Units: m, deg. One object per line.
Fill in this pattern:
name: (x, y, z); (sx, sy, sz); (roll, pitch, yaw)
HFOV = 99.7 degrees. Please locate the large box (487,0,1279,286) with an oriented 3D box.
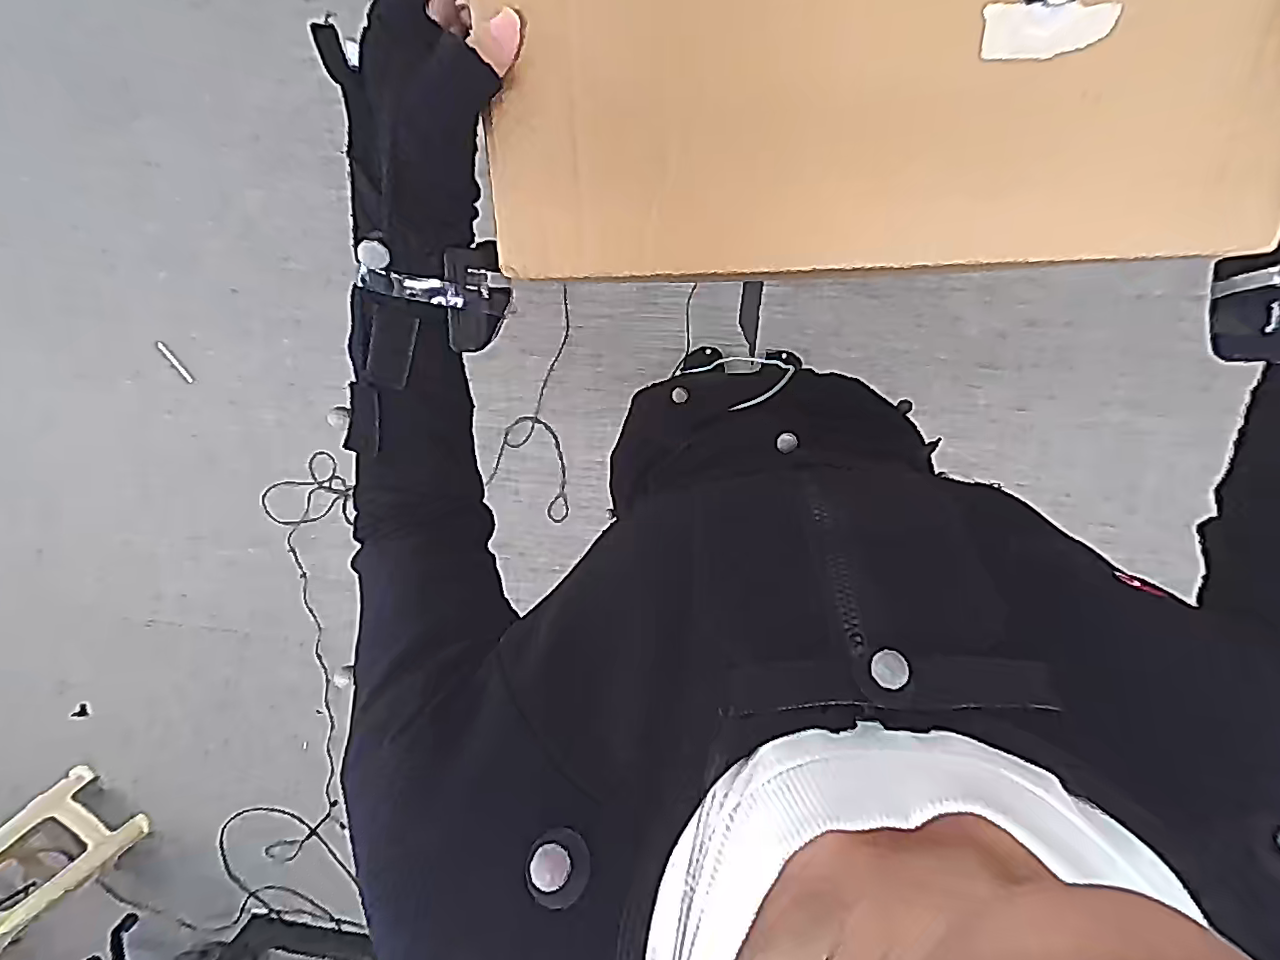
large box: (0.123, -0.318, 0.395); (0.408, 0.320, 0.320); (-1, 110, 3)
